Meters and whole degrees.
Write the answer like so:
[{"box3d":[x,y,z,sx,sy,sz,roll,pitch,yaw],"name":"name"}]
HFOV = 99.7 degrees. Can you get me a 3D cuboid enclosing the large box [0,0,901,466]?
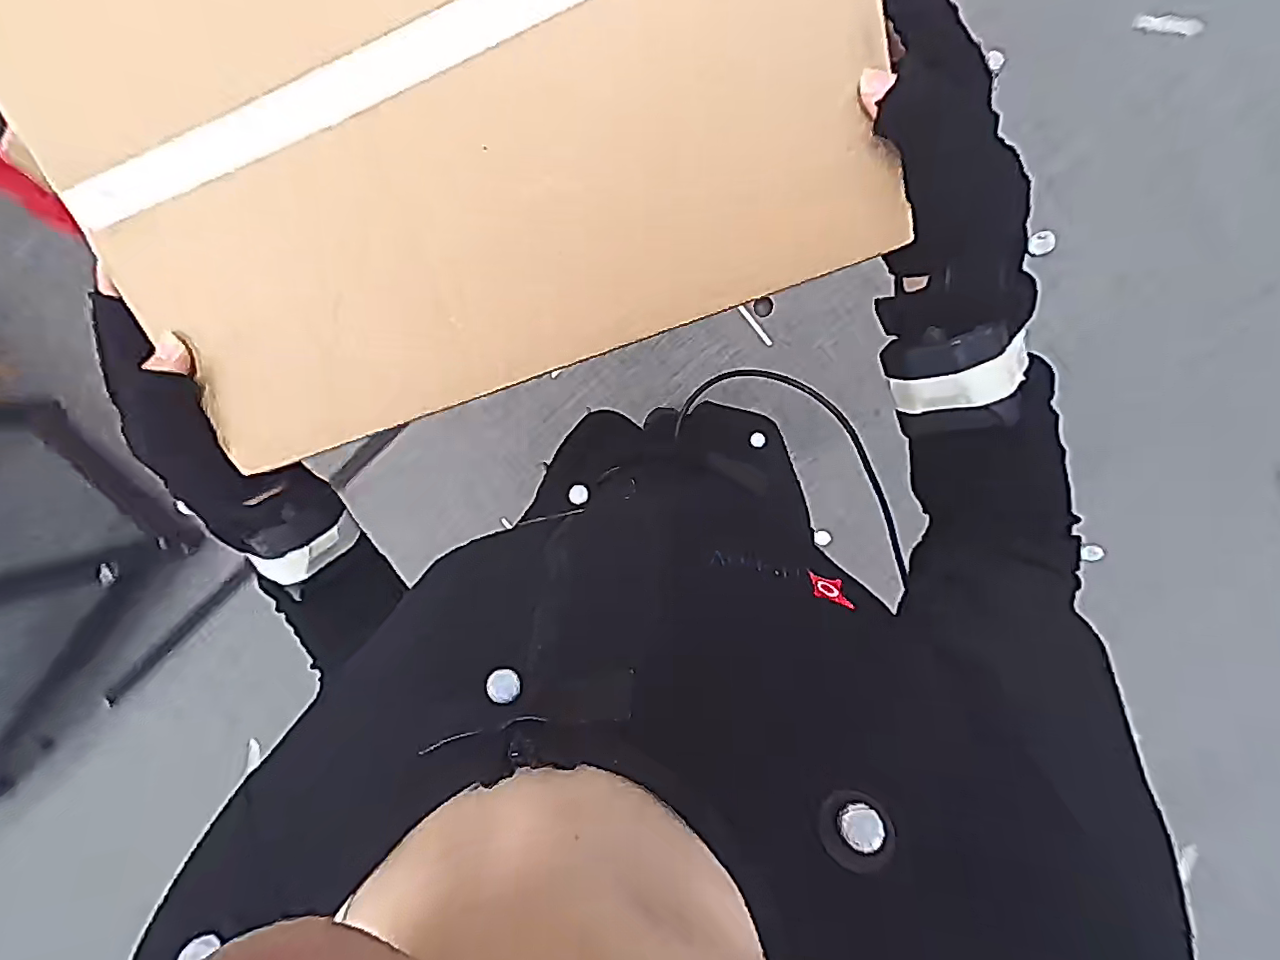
[{"box3d":[-0.089,-0.254,0.402,0.408,0.320,0.320,-16,109,10],"name":"large box"}]
